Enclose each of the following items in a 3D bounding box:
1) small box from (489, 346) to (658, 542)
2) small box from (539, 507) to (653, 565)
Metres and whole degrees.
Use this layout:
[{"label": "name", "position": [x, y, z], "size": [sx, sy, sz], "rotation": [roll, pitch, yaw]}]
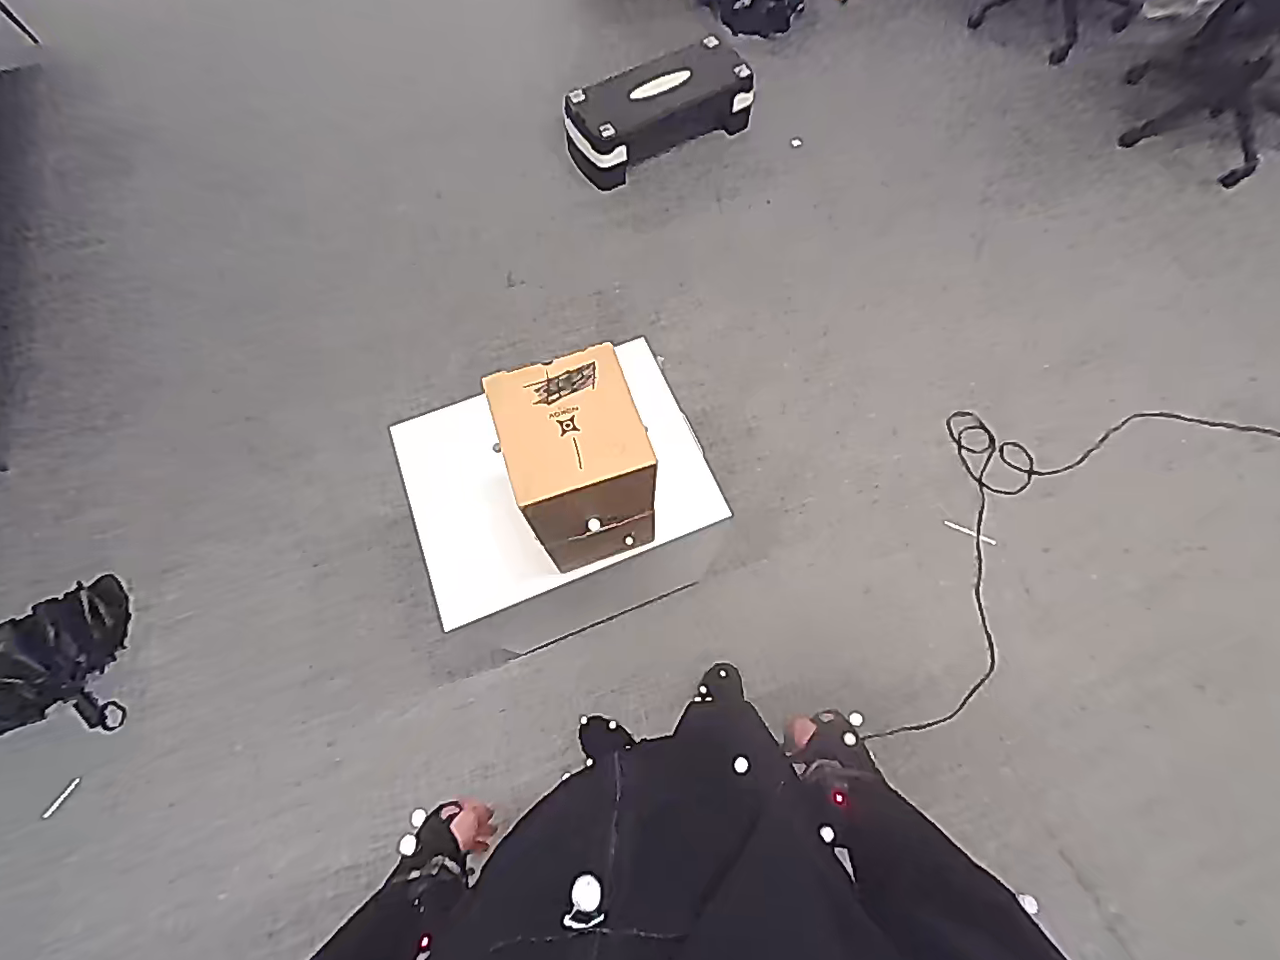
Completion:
[{"label": "small box", "position": [-0.083, -0.039, 0.708], "size": [0.168, 0.176, 0.179], "rotation": [-17, 70, -7]}, {"label": "small box", "position": [-0.082, 0.024, 0.859], "size": [0.168, 0.176, 0.179], "rotation": [-18, 68, -7]}]
